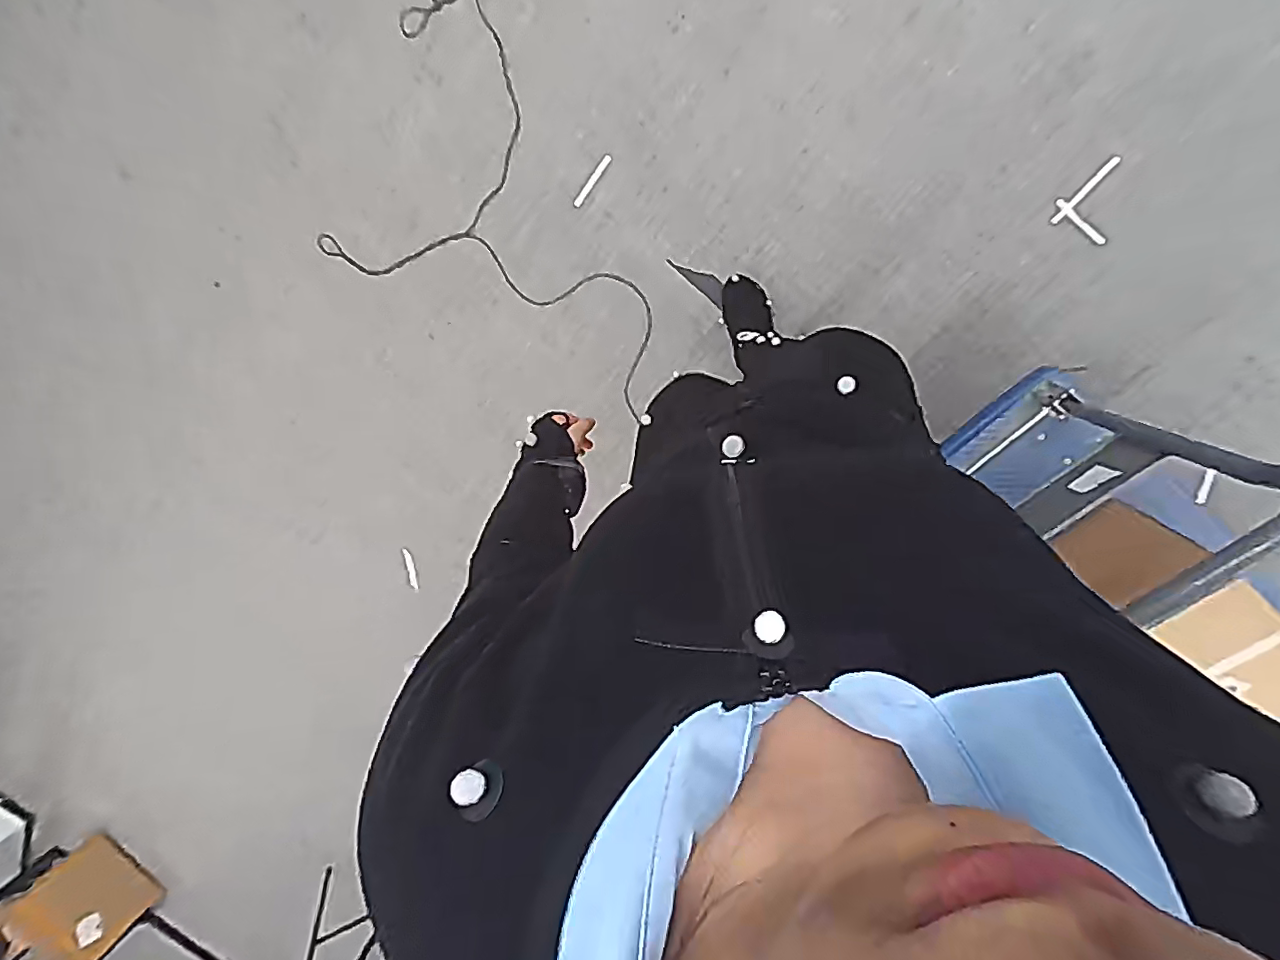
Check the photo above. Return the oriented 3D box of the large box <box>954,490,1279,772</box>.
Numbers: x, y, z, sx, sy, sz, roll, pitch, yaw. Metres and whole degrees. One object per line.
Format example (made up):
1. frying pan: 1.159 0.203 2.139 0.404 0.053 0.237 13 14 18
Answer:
1. large box: 0.966 0.296 1.120 0.320 0.320 0.408 42 111 -4
